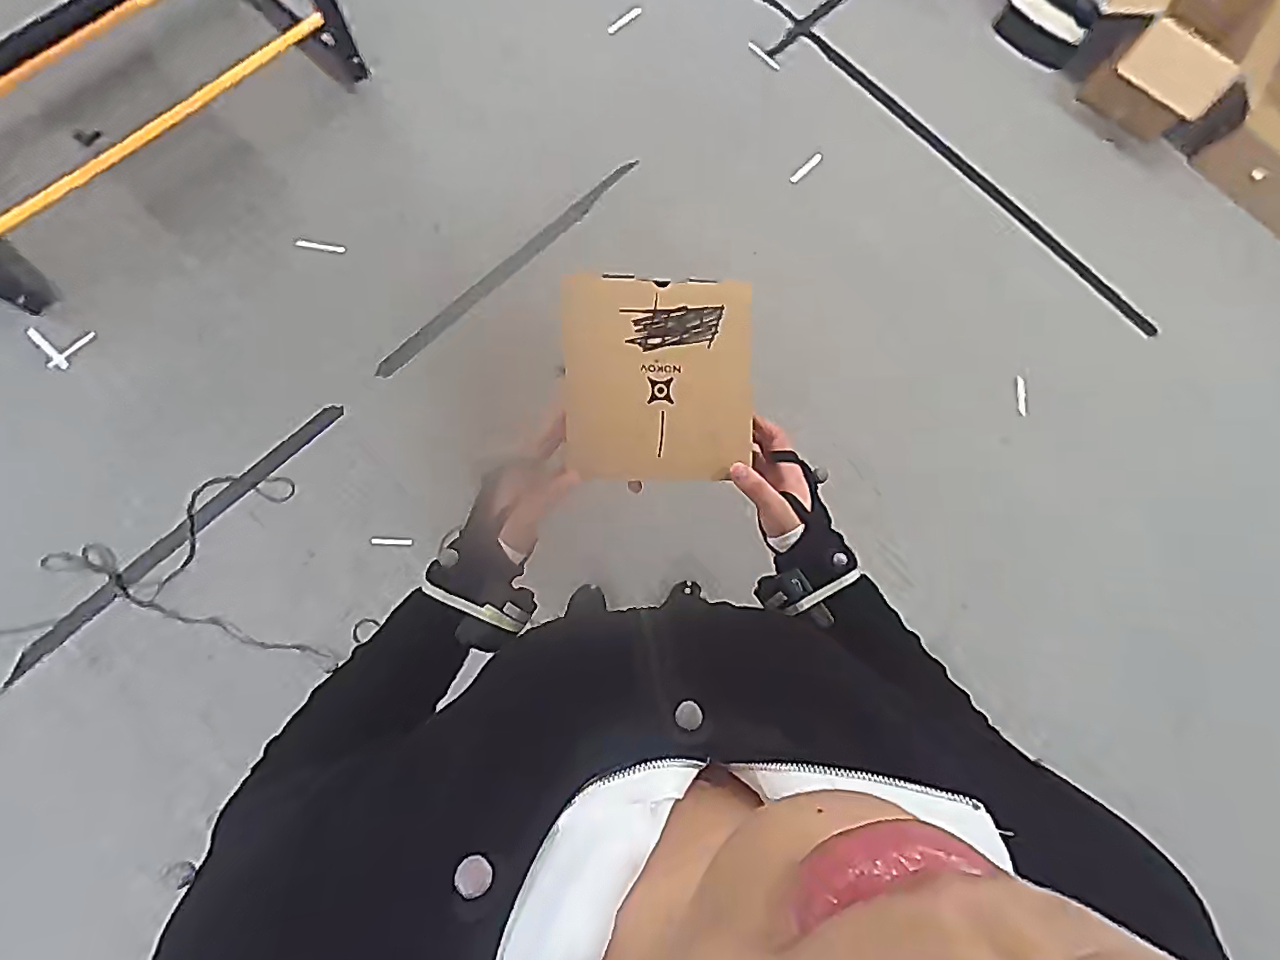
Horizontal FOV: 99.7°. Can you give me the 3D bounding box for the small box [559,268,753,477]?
[{"bbox_3d":[0.005,-0.093,0.539,0.168,0.176,0.179,-2,93,-9],"label":"small box"}]
